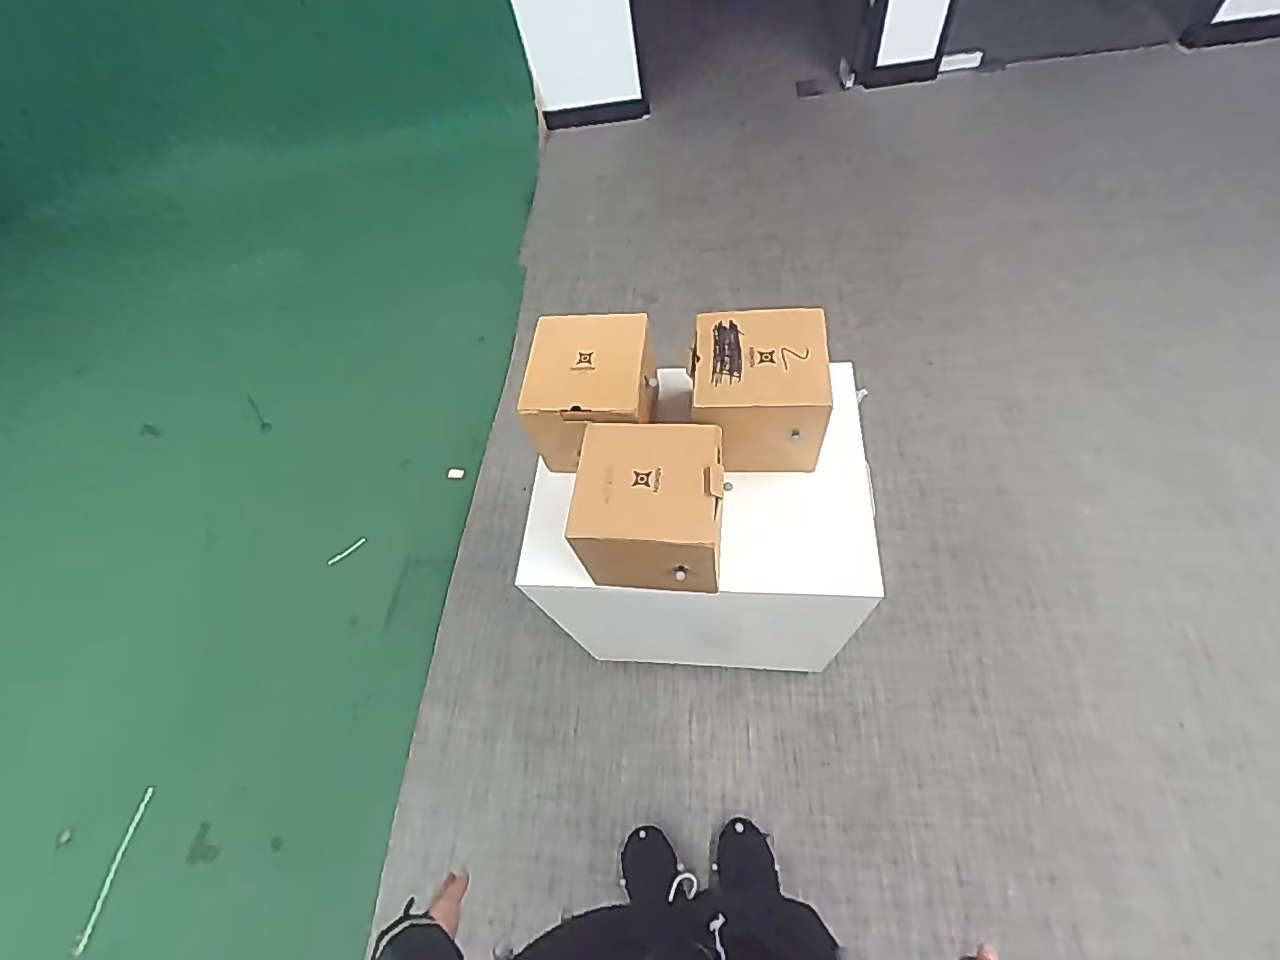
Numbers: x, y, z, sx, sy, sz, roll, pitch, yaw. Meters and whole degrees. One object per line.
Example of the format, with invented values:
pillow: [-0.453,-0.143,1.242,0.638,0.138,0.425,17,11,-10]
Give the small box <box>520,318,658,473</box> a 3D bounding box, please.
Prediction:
small box: [-0.065,-0.124,0.823,0.168,0.176,0.179,1,62,9]

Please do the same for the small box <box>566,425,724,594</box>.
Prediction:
small box: [0.020,0.044,0.714,0.179,0.176,0.168,1,59,11]
